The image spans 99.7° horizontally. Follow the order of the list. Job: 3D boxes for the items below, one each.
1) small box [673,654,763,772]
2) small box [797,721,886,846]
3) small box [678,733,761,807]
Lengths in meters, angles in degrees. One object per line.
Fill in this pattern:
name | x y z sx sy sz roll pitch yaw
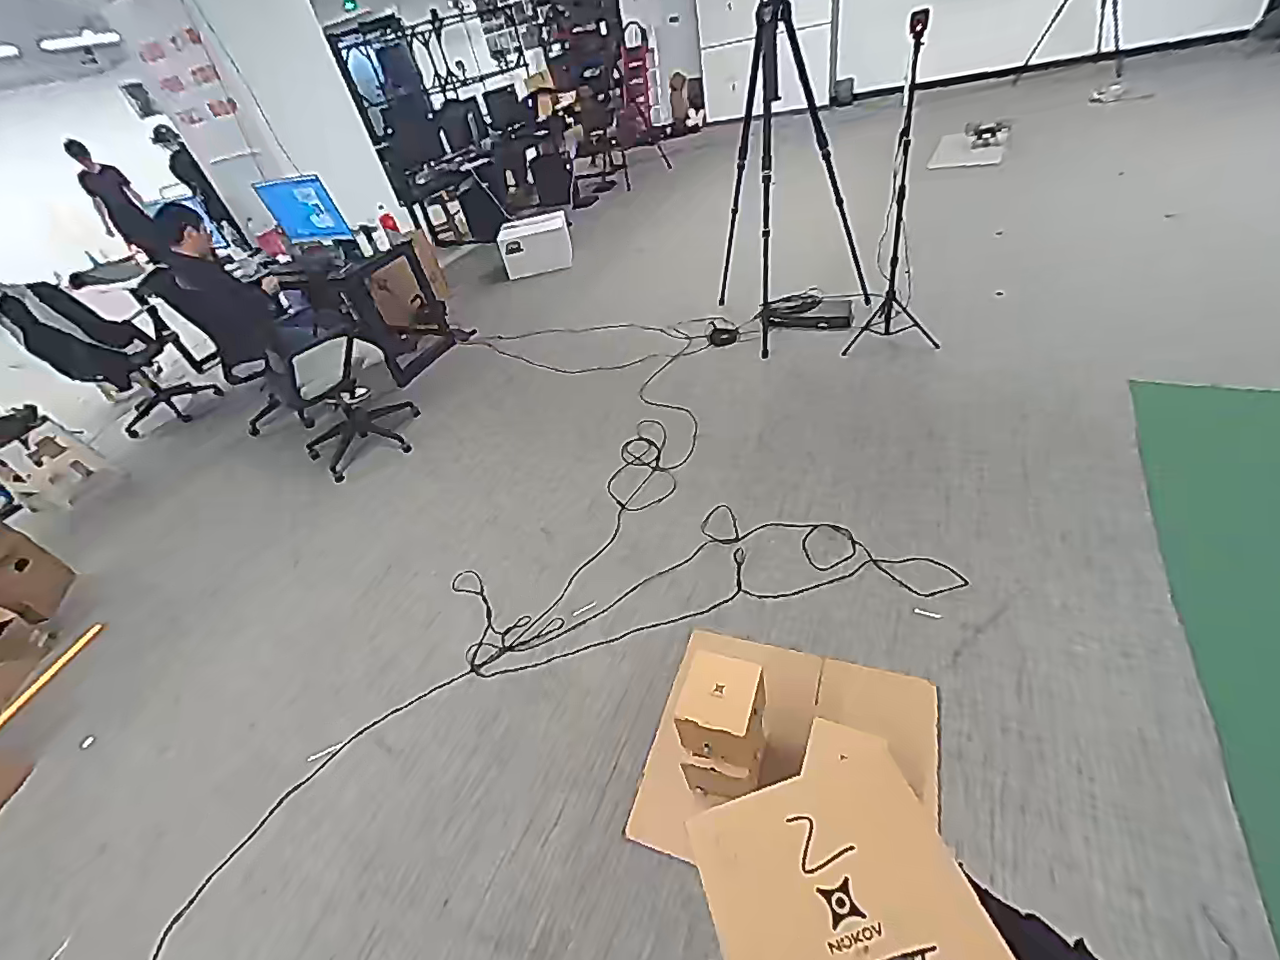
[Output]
small box | 0.191 0.548 1.276 0.168 0.176 0.179 7 44 24
small box | 0.469 0.707 1.263 0.168 0.176 0.179 9 45 27
small box | 0.208 0.688 1.361 0.168 0.176 0.179 4 43 22
